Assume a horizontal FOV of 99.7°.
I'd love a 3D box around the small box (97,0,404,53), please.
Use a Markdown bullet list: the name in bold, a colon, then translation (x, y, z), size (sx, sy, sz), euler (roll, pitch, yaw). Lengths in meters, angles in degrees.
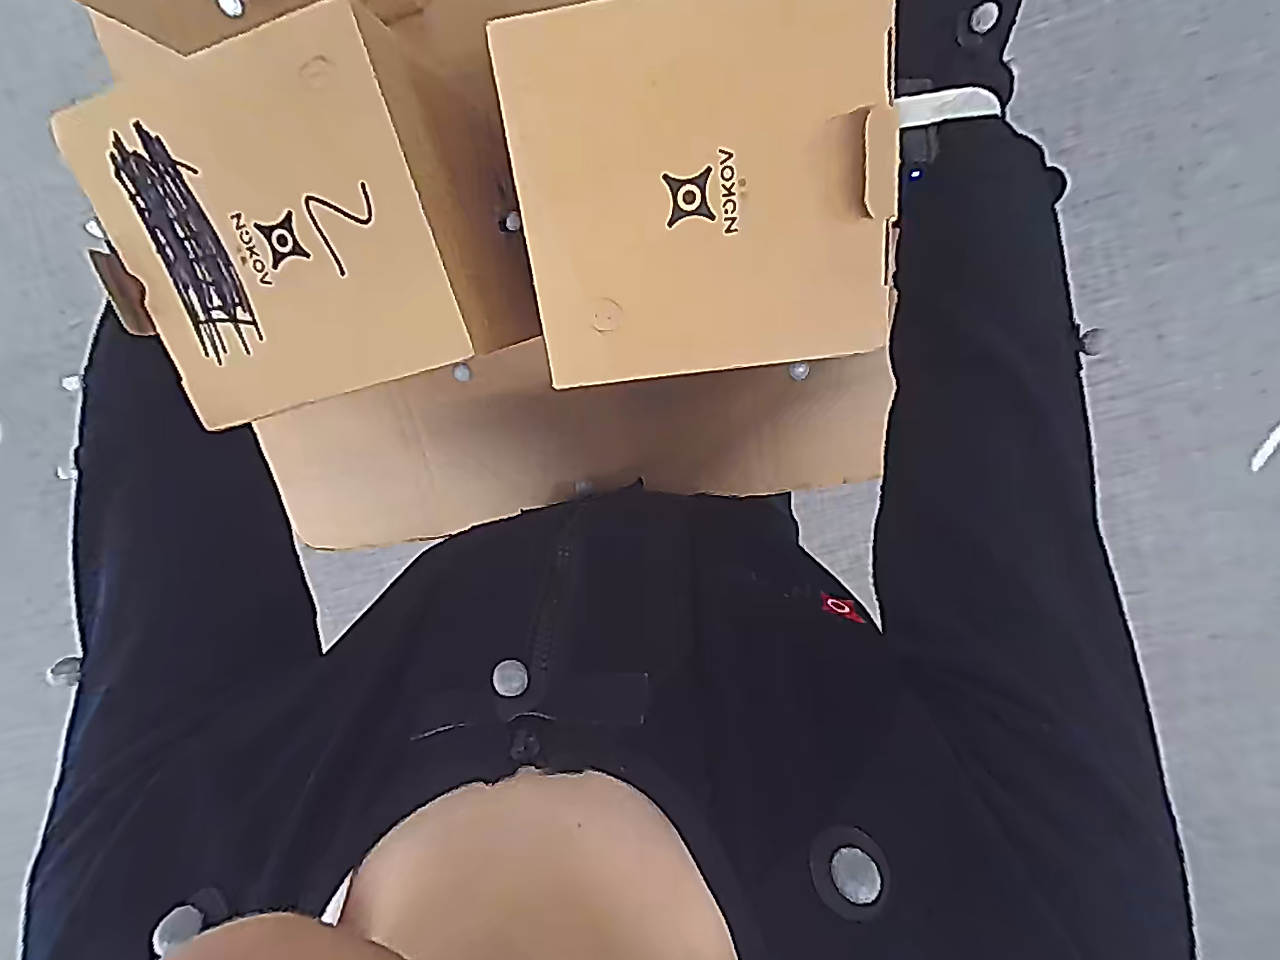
- **small box**: translation (-0.259, -0.376, 0.295), size (0.168, 0.176, 0.179), euler (-10, 105, 9)
